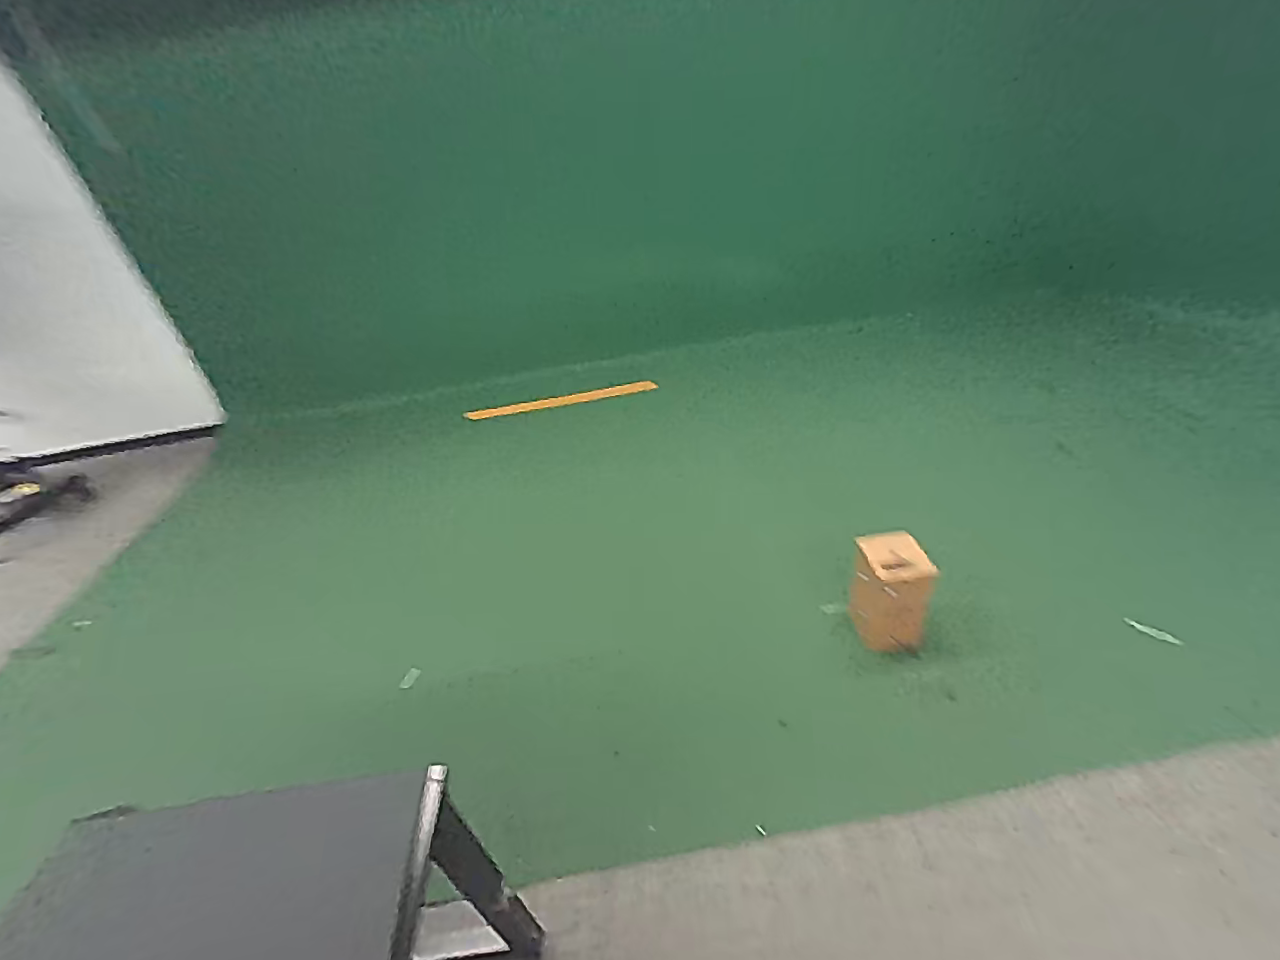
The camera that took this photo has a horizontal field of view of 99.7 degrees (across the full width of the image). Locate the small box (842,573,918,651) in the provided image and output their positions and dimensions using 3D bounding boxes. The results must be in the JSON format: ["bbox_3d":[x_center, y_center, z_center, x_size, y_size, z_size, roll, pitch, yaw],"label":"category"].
[{"bbox_3d":[0.775,0.431,1.770,0.168,0.176,0.179,-8,35,0],"label":"small box"}]
